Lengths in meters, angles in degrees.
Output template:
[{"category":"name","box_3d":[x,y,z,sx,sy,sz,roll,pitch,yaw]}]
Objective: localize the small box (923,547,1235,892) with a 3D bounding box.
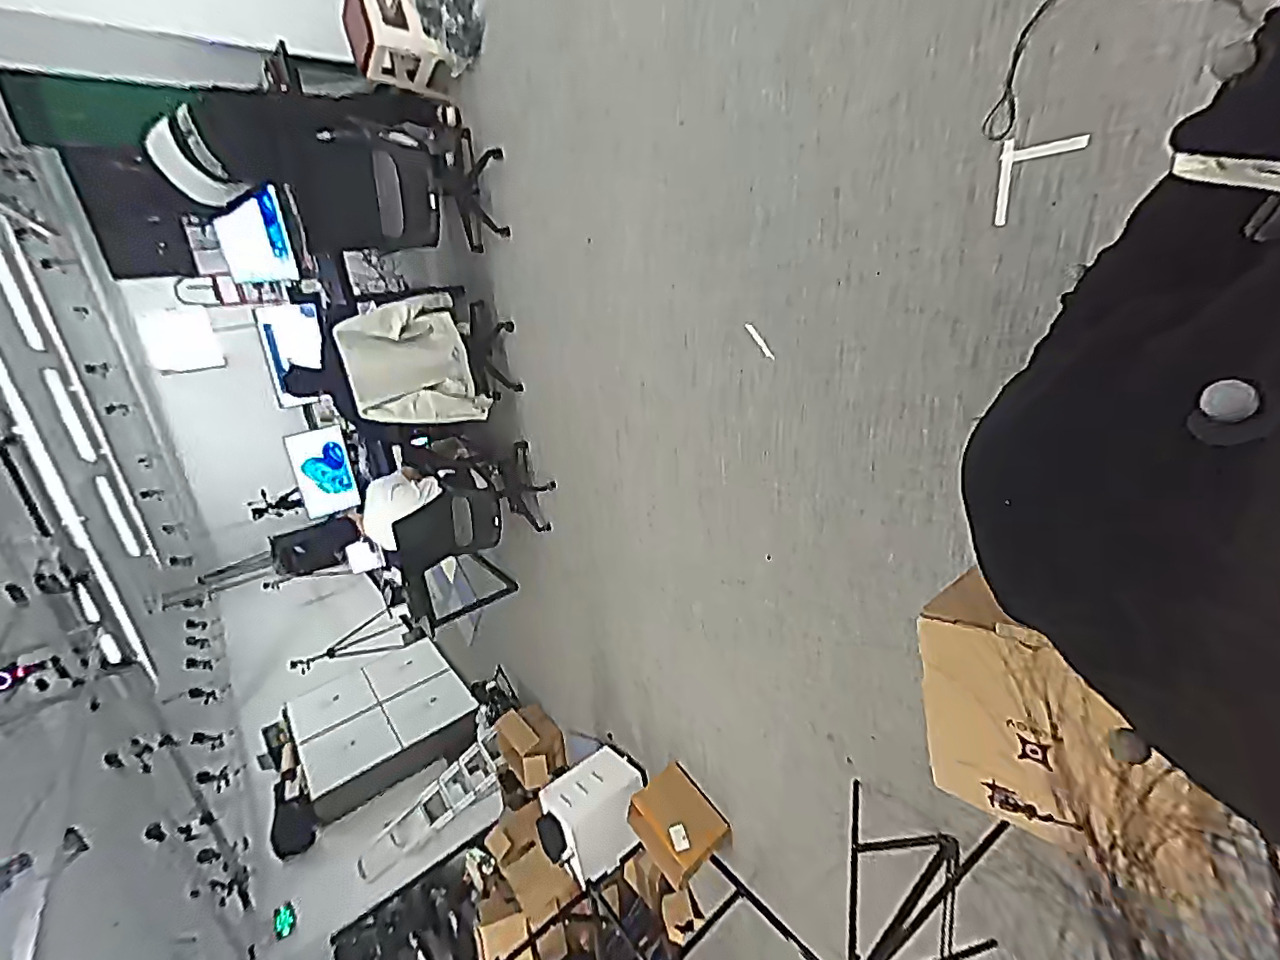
[{"category":"small box","box_3d":[0.363,0.169,0.453,0.168,0.176,0.179,5,109,53]}]
